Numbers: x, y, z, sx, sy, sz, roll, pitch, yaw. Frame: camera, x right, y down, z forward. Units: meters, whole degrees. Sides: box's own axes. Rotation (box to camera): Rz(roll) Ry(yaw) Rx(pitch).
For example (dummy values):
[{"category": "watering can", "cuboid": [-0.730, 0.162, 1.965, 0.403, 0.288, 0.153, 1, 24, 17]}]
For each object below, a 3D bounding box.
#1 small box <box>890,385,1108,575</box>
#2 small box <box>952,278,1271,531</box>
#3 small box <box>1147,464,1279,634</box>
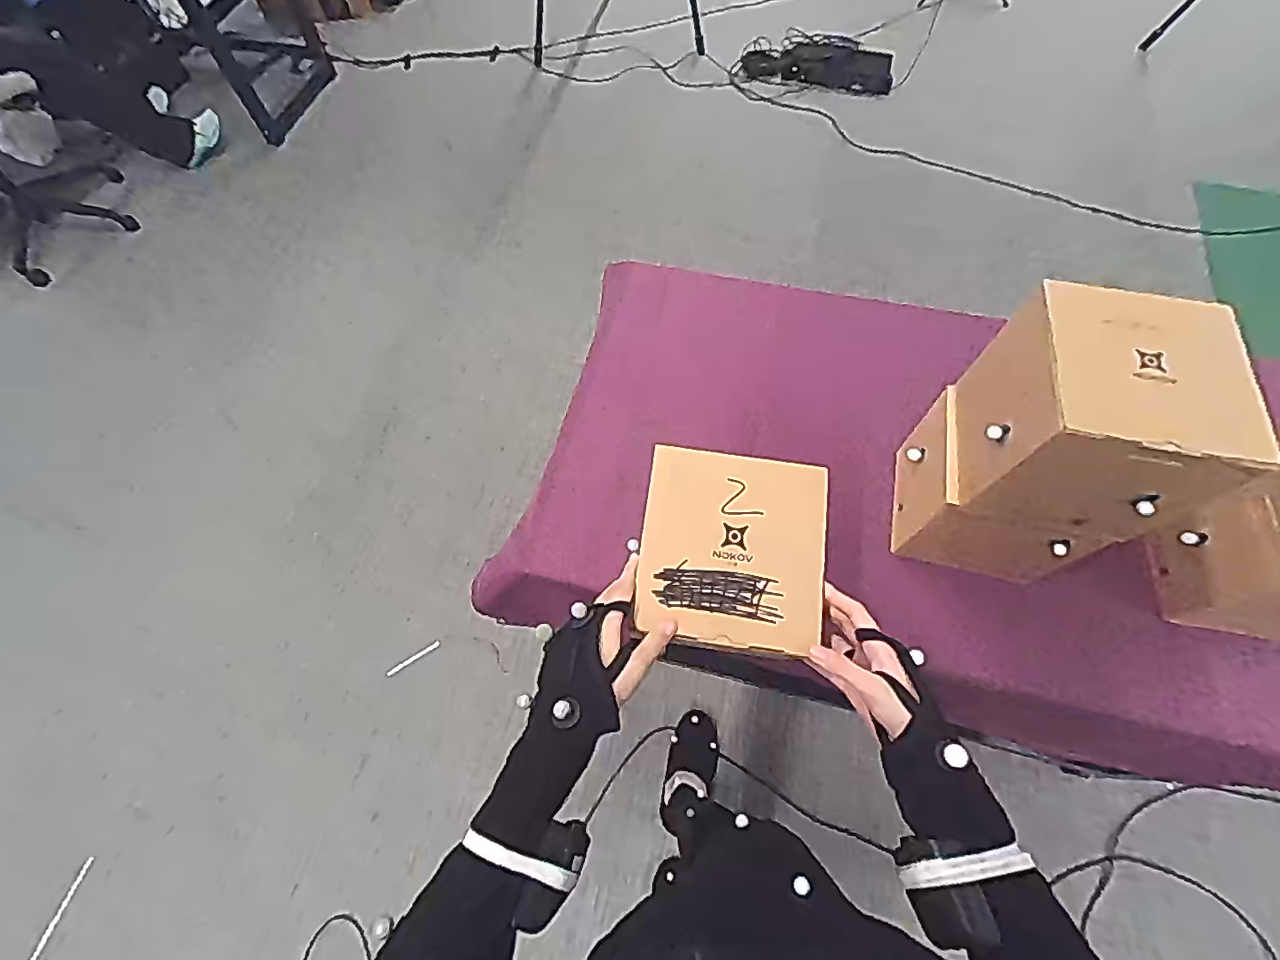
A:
[{"category": "small box", "cuboid": [0.436, 0.007, 0.687, 0.179, 0.176, 0.168, 12, 64, 8]}, {"category": "small box", "cuboid": [0.437, -0.067, 0.541, 0.168, 0.176, 0.179, 12, 63, 7]}, {"category": "small box", "cuboid": [0.751, 0.075, 0.633, 0.179, 0.176, 0.168, 9, 64, 8]}]
